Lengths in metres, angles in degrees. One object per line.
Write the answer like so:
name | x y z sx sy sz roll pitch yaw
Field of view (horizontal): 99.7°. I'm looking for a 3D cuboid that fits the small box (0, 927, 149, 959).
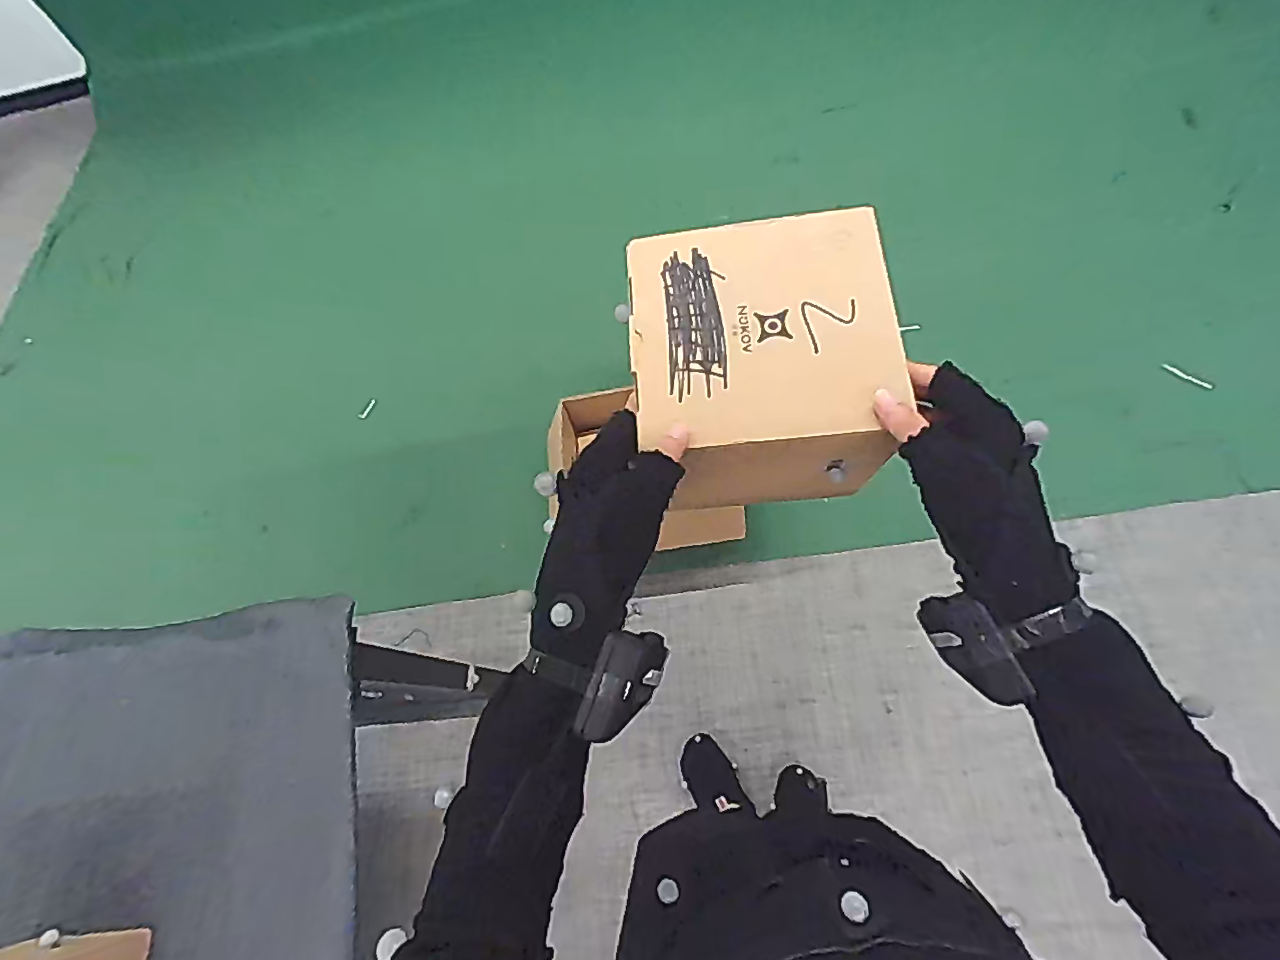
small box | -0.637 0.574 0.522 0.168 0.176 0.179 -9 65 5
